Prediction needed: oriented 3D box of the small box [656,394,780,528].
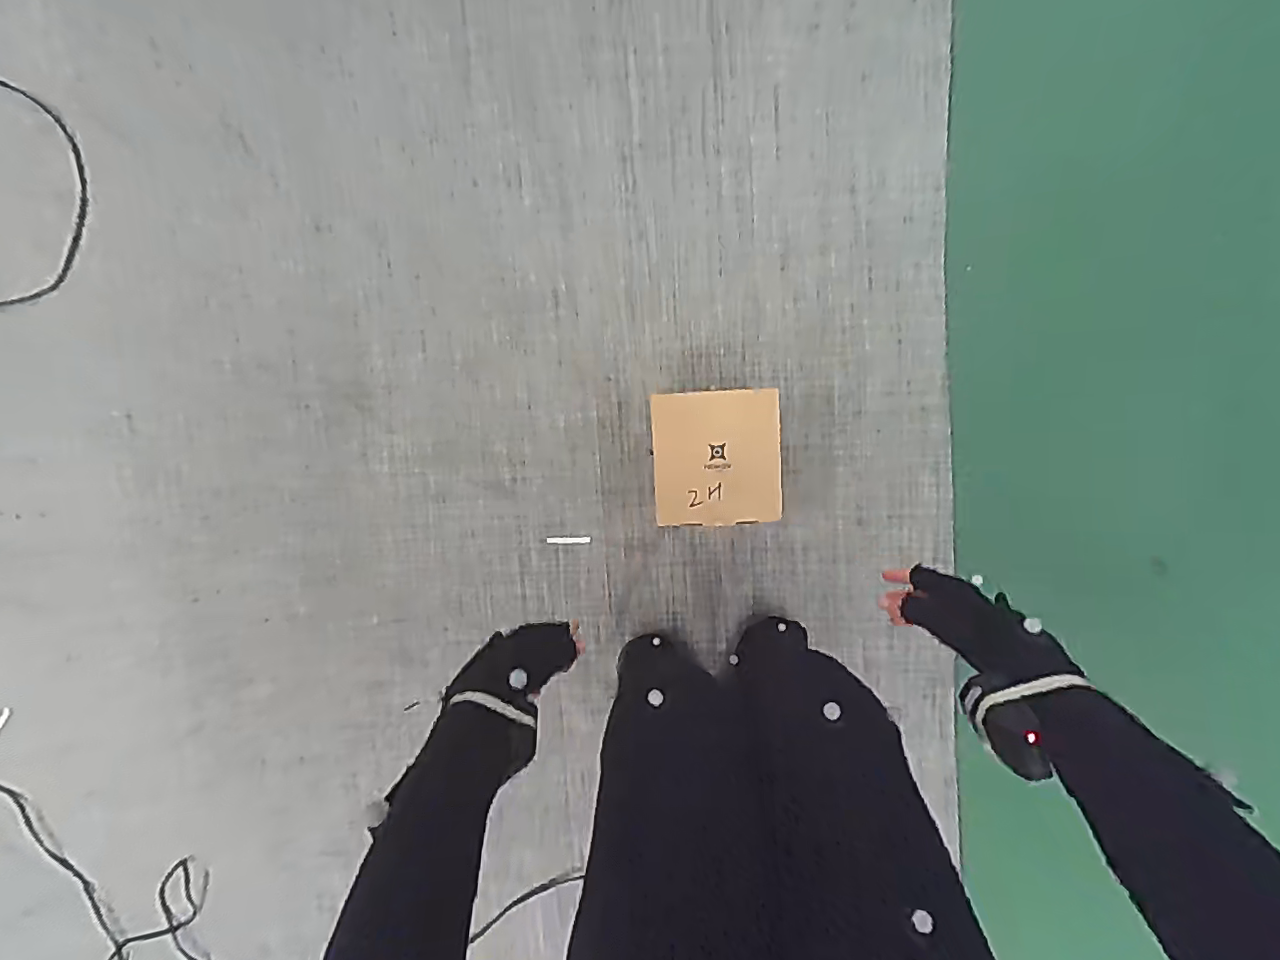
[{"bbox_3d":[0.108,-0.029,0.797,0.168,0.176,0.179,-2,95,4],"label":"small box"}]
